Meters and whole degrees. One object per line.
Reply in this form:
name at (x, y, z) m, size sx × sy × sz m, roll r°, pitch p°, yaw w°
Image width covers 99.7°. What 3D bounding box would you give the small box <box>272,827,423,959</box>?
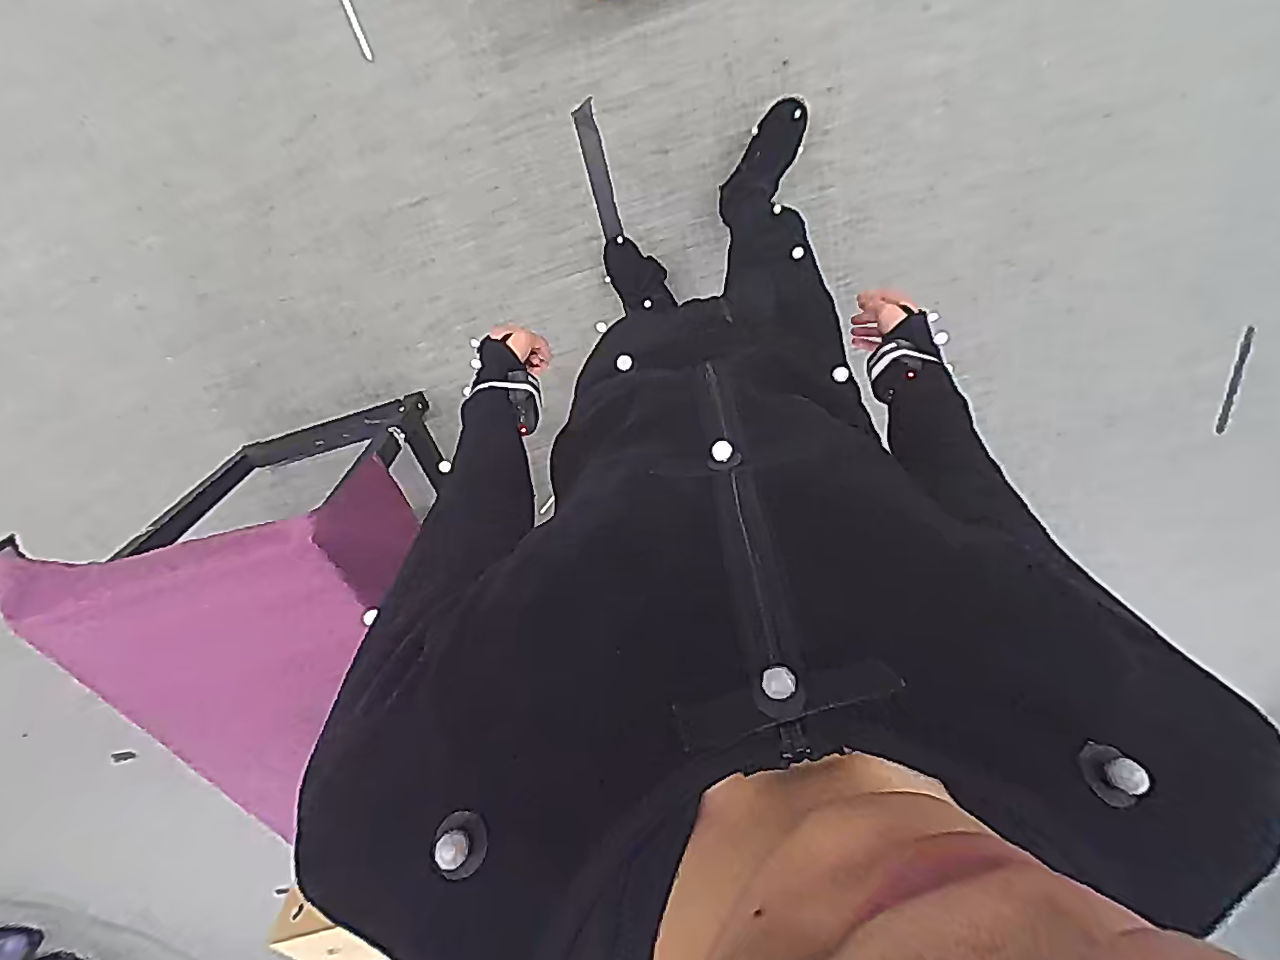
small box at (-0.567, 0.832, 1.078) m, size 0.179 × 0.176 × 0.168 m, roll -20°, pitch 121°, yaw 7°
